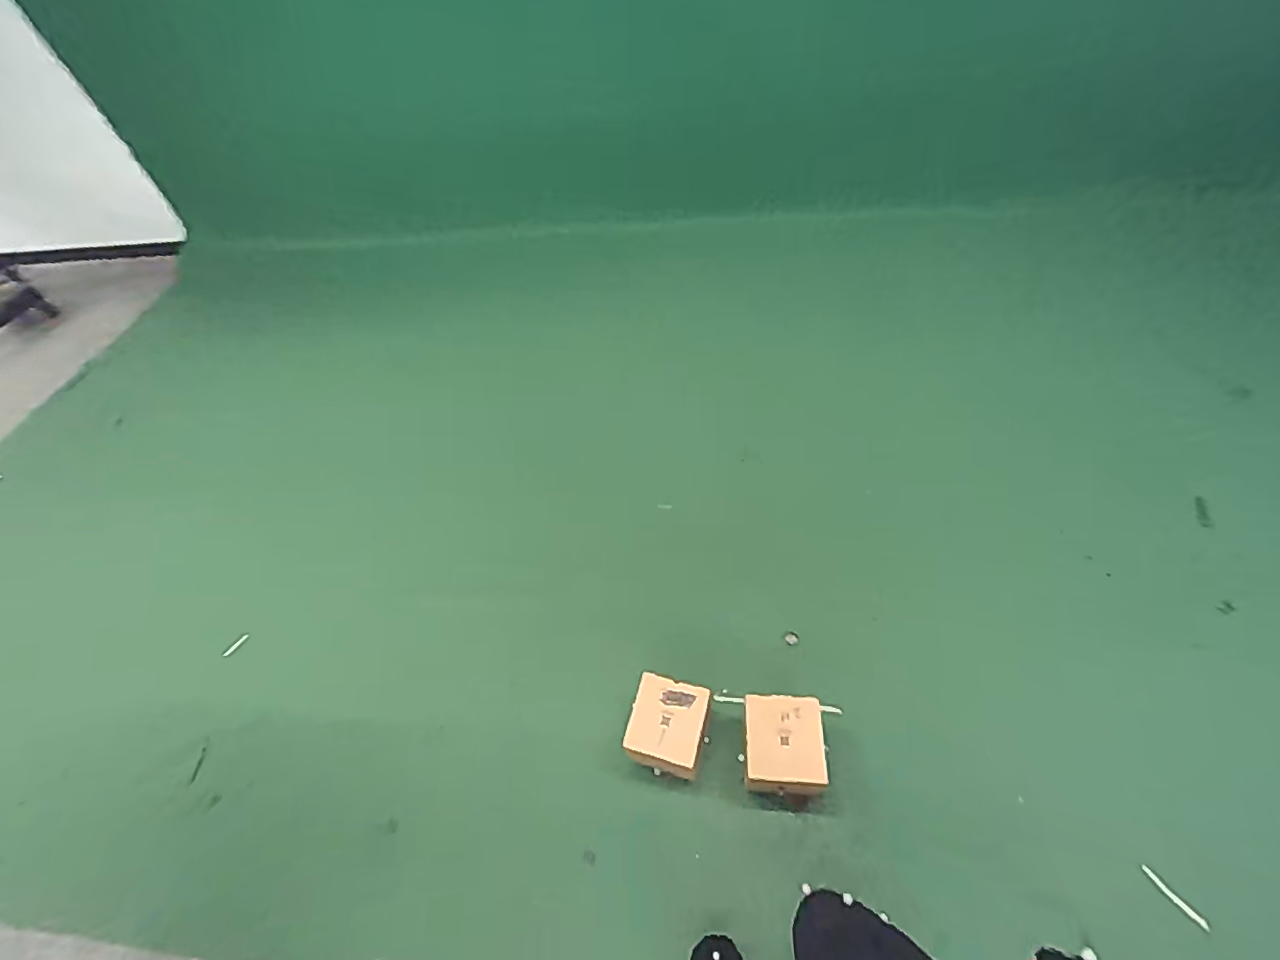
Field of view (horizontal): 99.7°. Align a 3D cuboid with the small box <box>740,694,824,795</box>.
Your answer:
[{"bbox_3d":[0.318,0.610,1.238,0.168,0.176,0.179,1,52,7],"label":"small box"}]

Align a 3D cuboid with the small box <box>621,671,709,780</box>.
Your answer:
[{"bbox_3d":[0.065,0.588,1.290,0.168,0.176,0.179,10,55,16],"label":"small box"}]
